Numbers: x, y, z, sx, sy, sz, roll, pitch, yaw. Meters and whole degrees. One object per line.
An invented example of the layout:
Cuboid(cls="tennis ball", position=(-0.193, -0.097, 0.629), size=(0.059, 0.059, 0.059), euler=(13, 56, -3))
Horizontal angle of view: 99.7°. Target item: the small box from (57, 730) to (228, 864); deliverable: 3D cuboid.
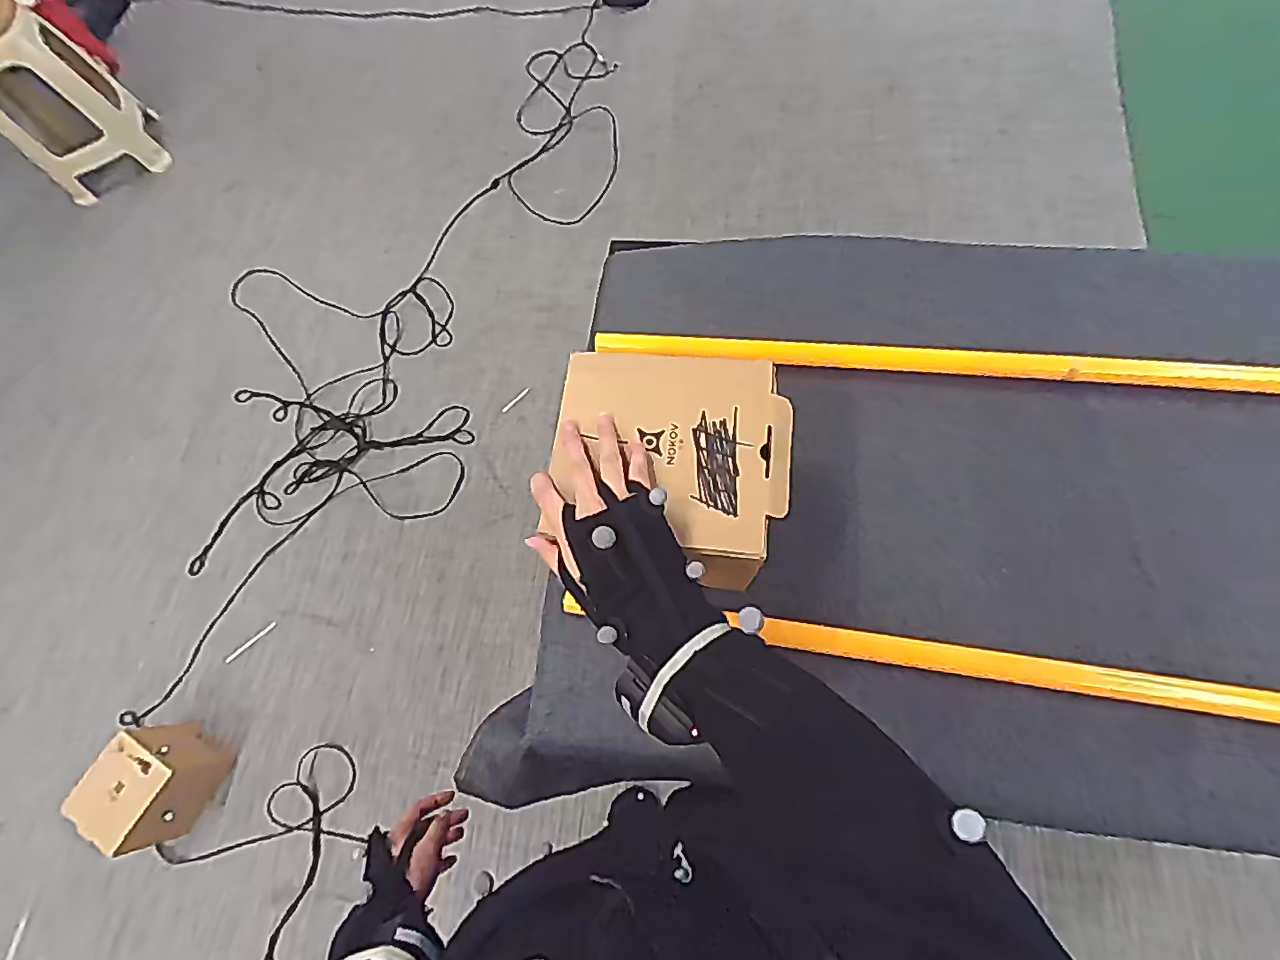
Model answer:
Cuboid(cls="small box", position=(-1.044, 0.661, 1.152), size=(0.168, 0.176, 0.179), euler=(26, 74, 15))

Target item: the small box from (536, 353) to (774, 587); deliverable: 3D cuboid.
Cuboid(cls="small box", position=(0.023, 0.001, 0.508), size=(0.179, 0.176, 0.168), euler=(5, 70, 8))
